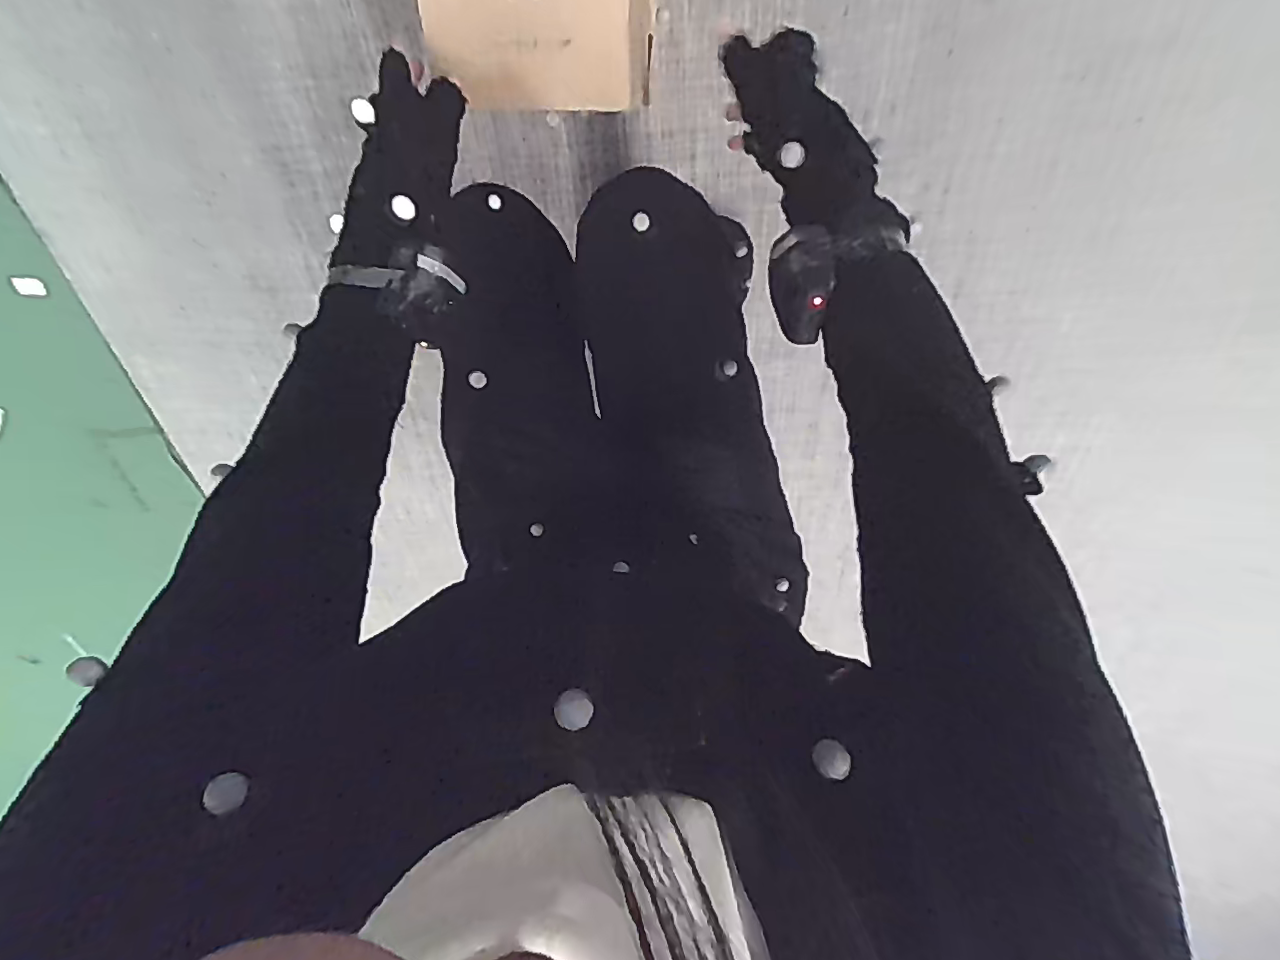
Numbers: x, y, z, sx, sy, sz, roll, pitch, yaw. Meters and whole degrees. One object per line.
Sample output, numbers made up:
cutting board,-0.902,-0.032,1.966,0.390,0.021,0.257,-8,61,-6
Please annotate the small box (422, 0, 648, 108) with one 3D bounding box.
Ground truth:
small box,-0.081,-0.431,0.469,0.168,0.176,0.179,3,126,4

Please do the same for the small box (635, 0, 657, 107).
small box,-0.069,-0.523,0.605,0.179,0.176,0.168,2,126,2
